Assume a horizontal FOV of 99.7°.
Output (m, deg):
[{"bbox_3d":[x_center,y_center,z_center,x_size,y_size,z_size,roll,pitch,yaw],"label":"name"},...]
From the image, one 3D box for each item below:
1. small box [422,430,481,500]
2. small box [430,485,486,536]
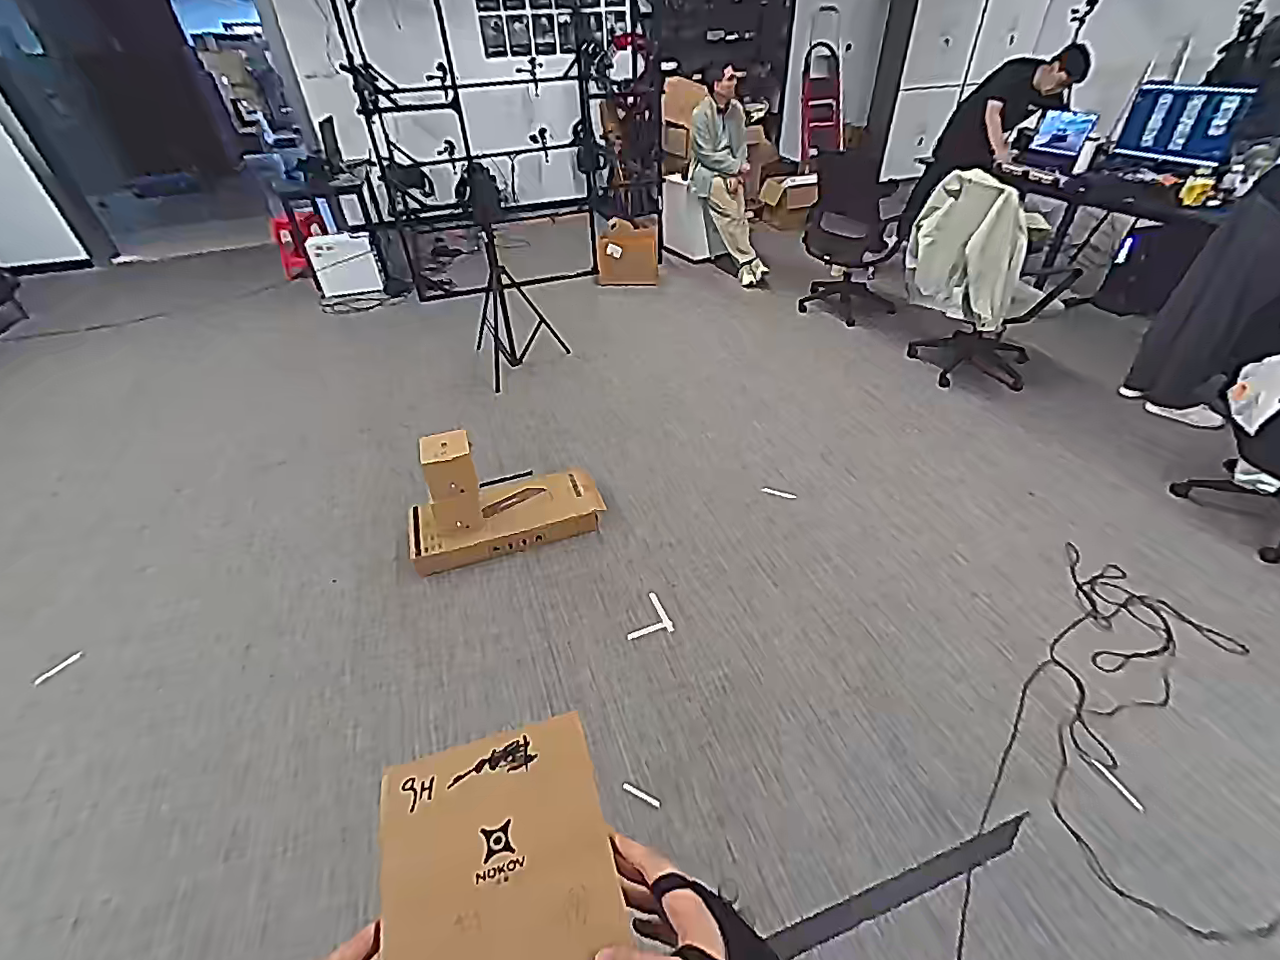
[{"bbox_3d":[-0.685,-0.054,1.965,0.168,0.176,0.179,-14,40,-14],"label":"small box"},{"bbox_3d":[-0.694,0.083,2.059,0.168,0.176,0.179,-15,41,-15],"label":"small box"}]
